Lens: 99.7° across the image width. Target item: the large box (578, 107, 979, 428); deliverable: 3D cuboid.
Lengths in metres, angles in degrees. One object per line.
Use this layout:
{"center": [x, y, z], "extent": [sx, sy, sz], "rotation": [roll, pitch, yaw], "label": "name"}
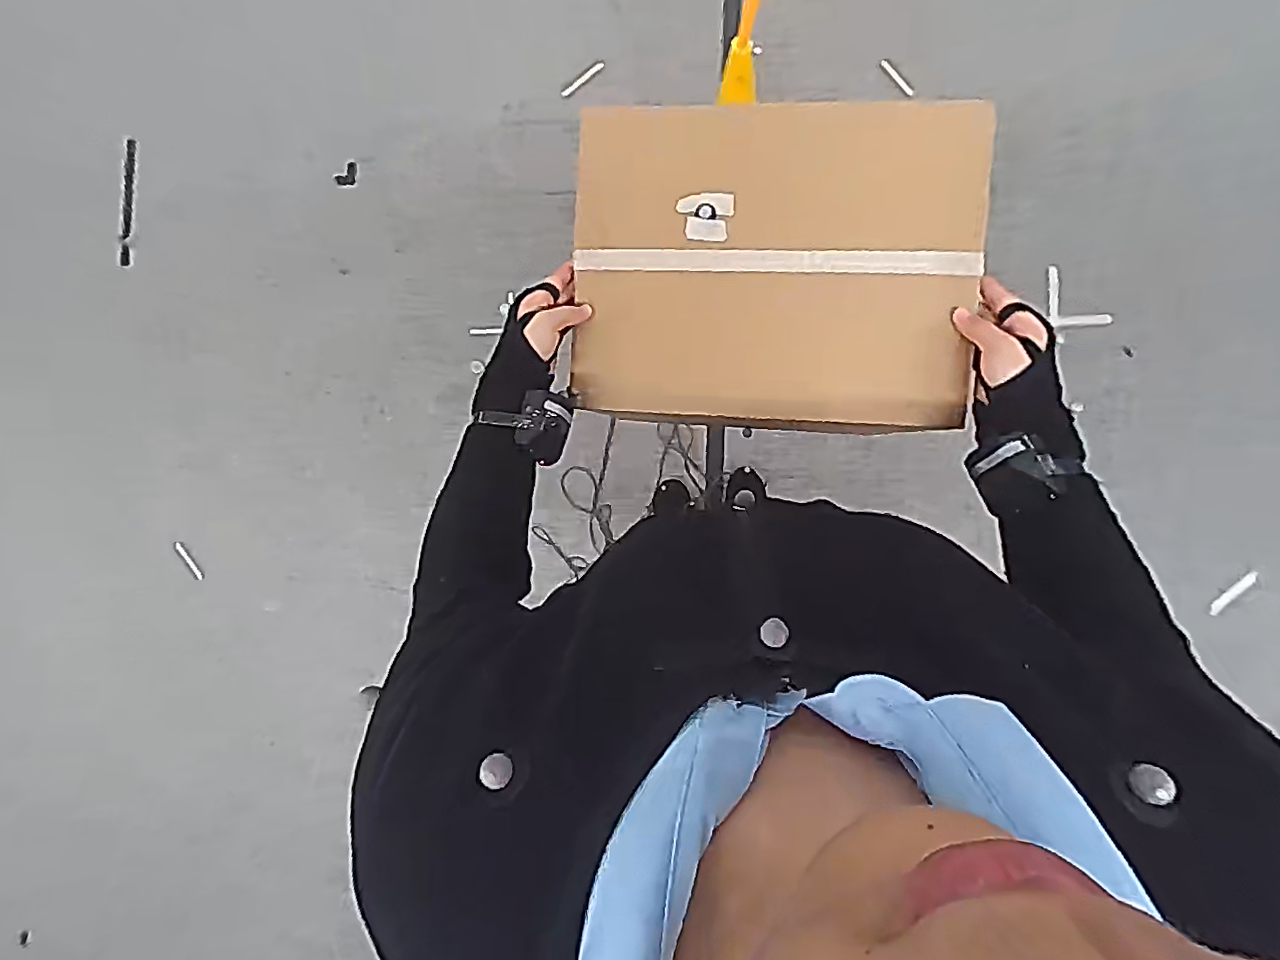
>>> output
{"center": [0.154, -0.230, 0.711], "extent": [0.408, 0.320, 0.320], "rotation": [3, 93, 8], "label": "large box"}
